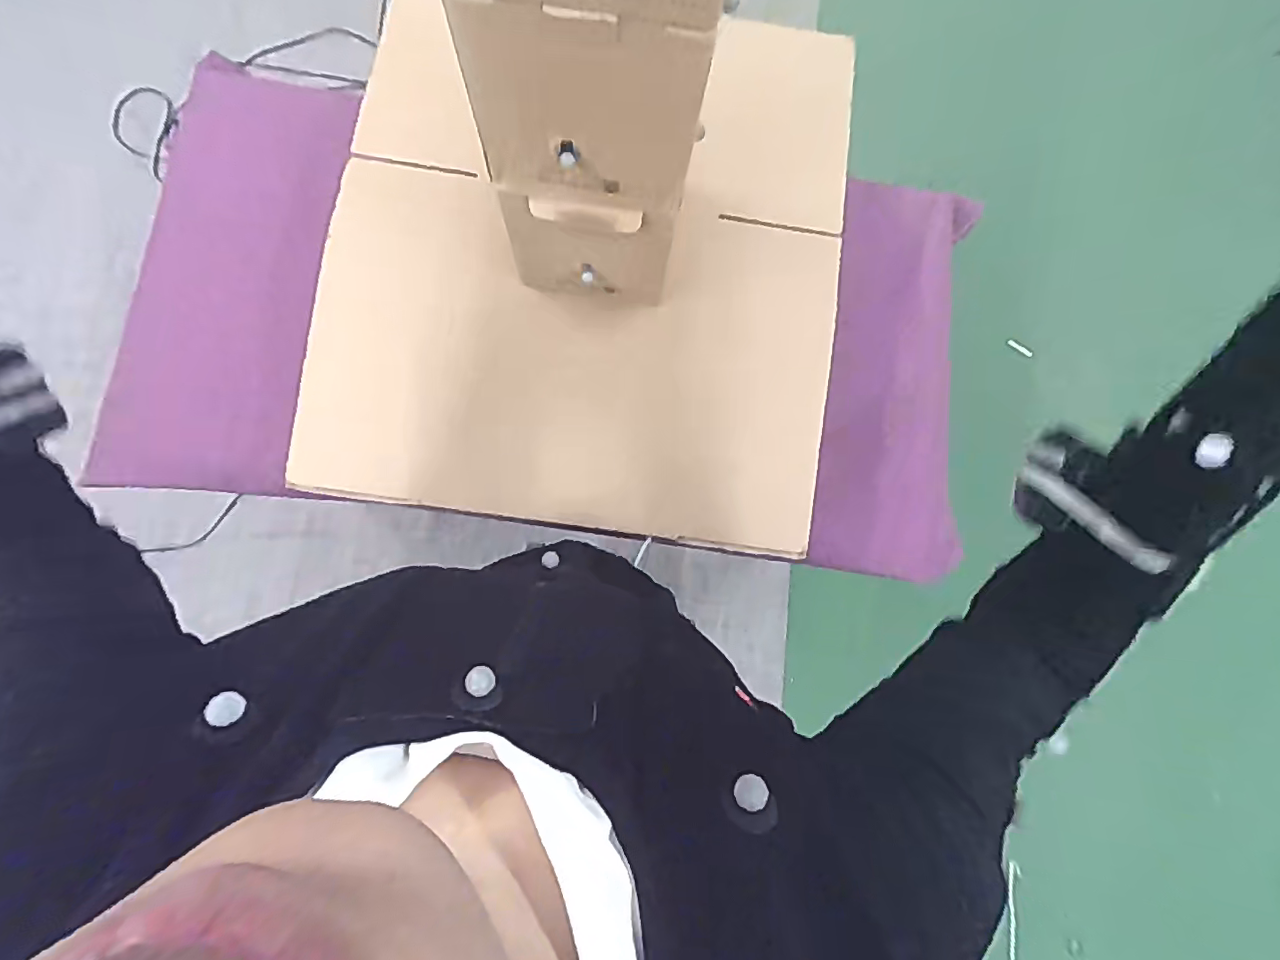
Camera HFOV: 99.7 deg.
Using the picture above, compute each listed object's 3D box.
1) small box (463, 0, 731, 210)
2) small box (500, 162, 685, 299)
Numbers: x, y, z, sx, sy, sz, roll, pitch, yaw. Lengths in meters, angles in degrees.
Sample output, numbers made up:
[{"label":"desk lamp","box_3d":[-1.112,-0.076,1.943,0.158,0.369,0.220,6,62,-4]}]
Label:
[{"label":"small box","box_3d":[-0.026,-0.345,0.409,0.168,0.176,0.179,7,81,-4]},{"label":"small box","box_3d":[-0.038,-0.320,0.569,0.168,0.176,0.179,8,81,-3]}]
